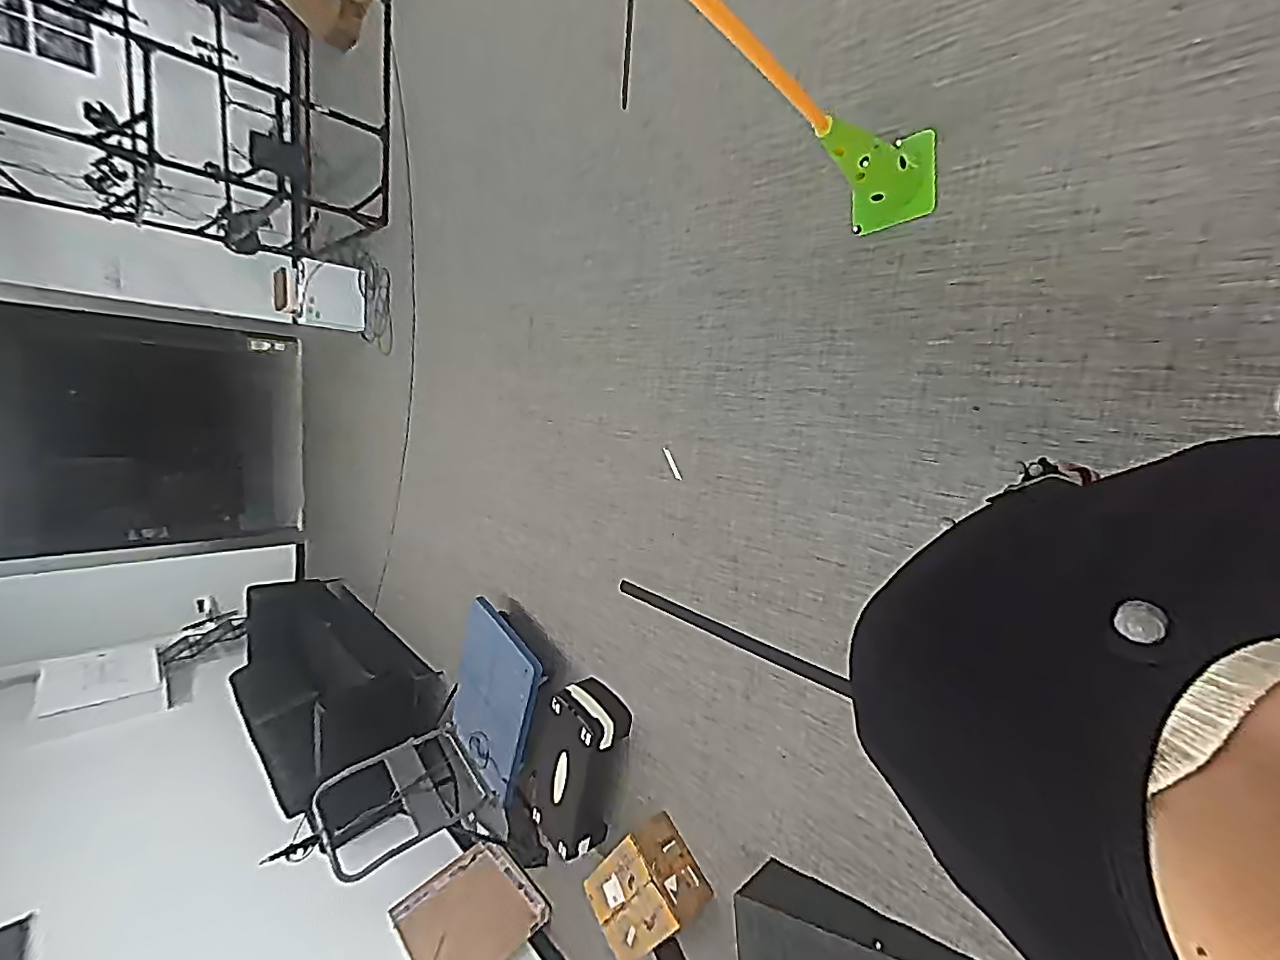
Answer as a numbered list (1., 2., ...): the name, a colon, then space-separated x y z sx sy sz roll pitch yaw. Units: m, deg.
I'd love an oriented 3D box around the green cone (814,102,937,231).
1. green cone: 0.501 -0.738 1.213 0.200 0.368 0.202 -1 90 46
